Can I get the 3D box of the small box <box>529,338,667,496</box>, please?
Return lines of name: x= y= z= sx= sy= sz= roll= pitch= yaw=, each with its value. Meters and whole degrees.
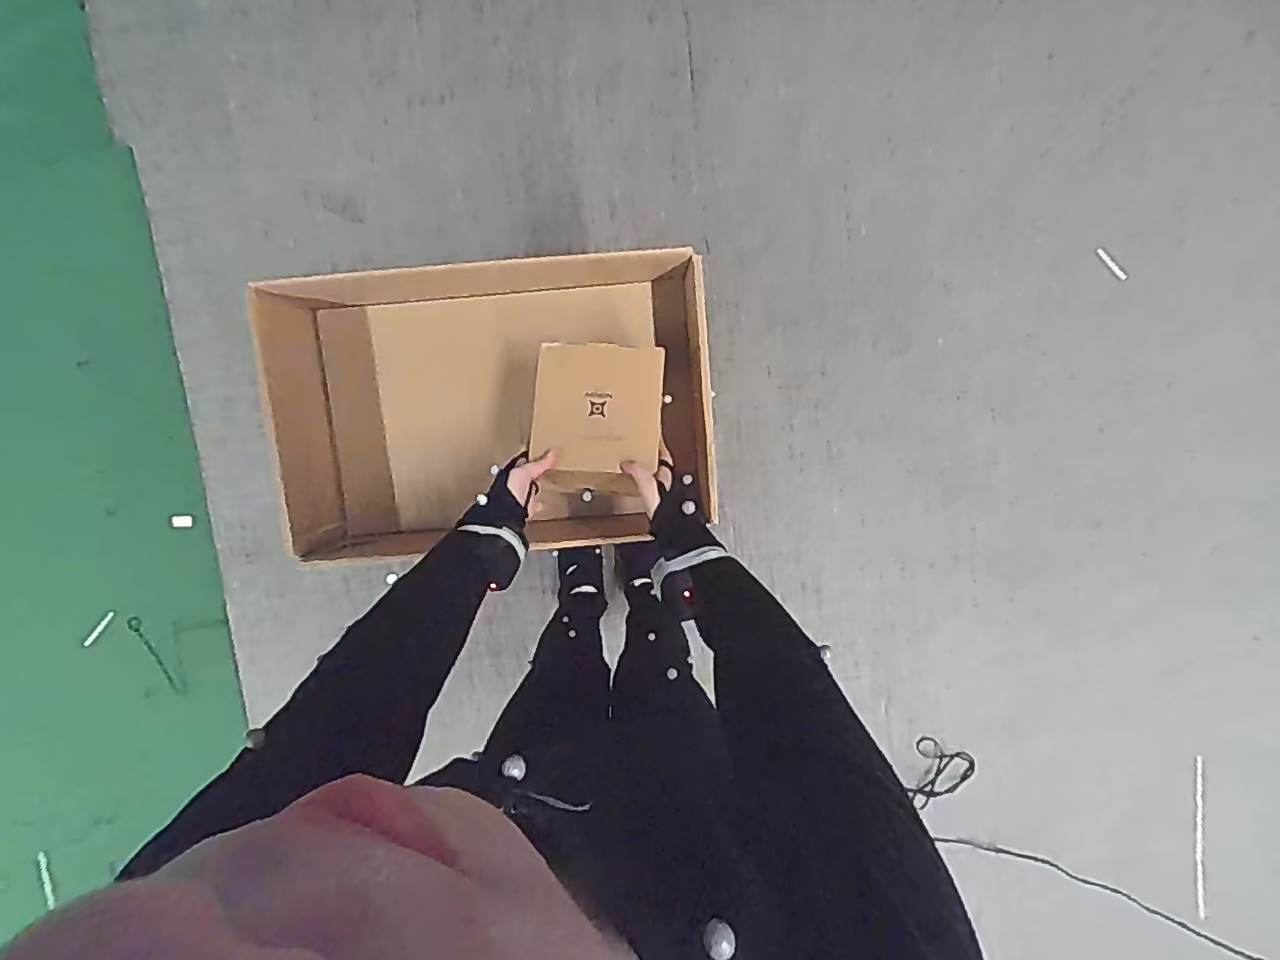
small box: x=-0.053 y=-0.081 z=0.772 sx=0.168 sy=0.176 sz=0.179 roll=4 pitch=79 yaw=1
